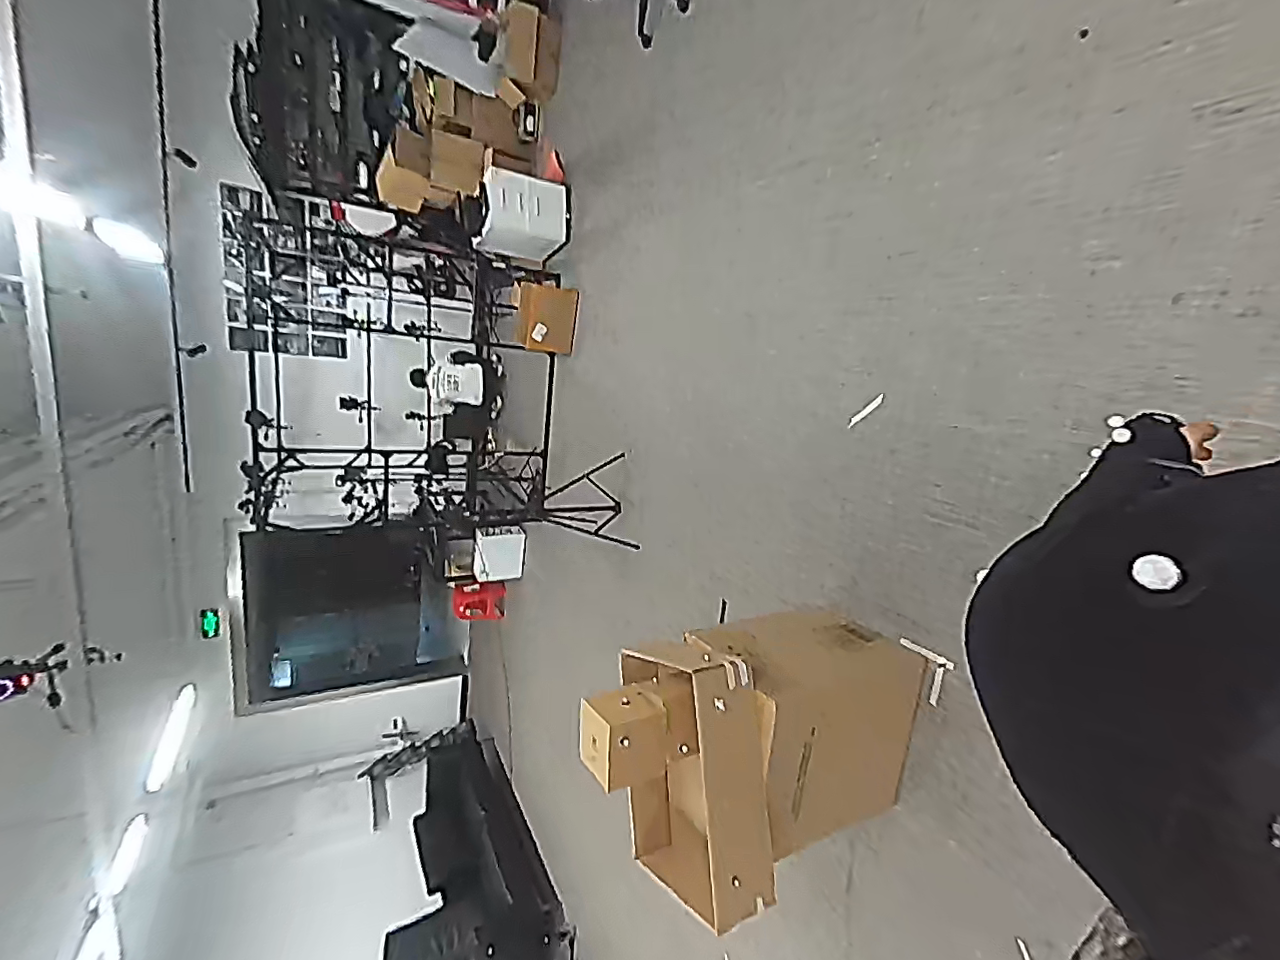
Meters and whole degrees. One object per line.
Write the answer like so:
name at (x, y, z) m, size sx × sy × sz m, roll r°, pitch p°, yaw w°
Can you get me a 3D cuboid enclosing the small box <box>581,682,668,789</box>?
small box at (-0.040, 0.650, 1.403) m, size 0.168 × 0.176 × 0.179 m, roll 12°, pitch 103°, yaw 59°
